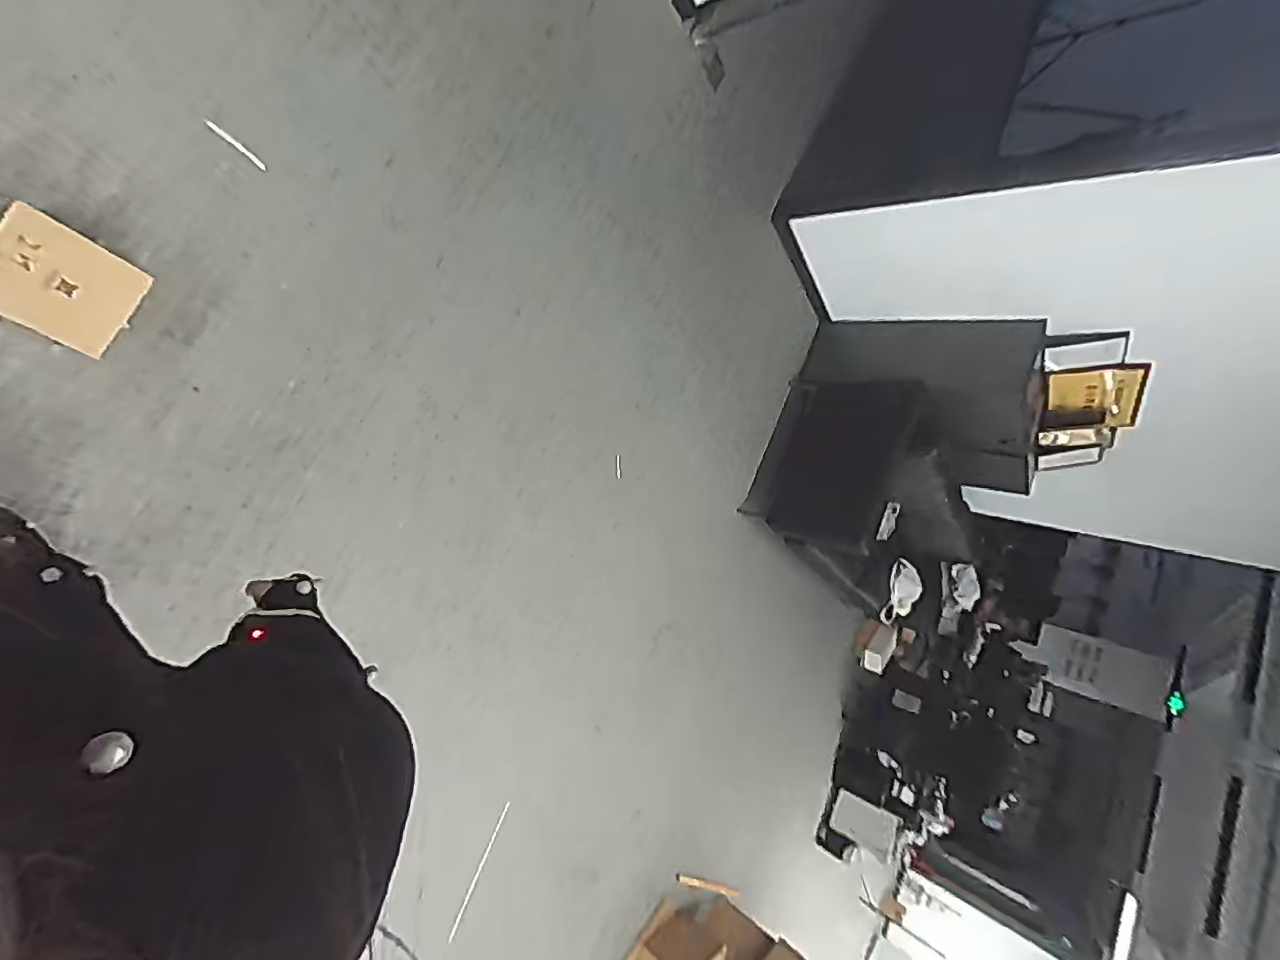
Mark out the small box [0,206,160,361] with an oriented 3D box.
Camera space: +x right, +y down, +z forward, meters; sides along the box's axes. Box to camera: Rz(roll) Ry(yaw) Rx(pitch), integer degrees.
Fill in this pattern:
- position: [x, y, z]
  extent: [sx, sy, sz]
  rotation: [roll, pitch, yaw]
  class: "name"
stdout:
- position: [-0.962, -0.319, 0.899]
  extent: [0.179, 0.176, 0.168]
  rotation: [39, 70, -47]
  class: "small box"
